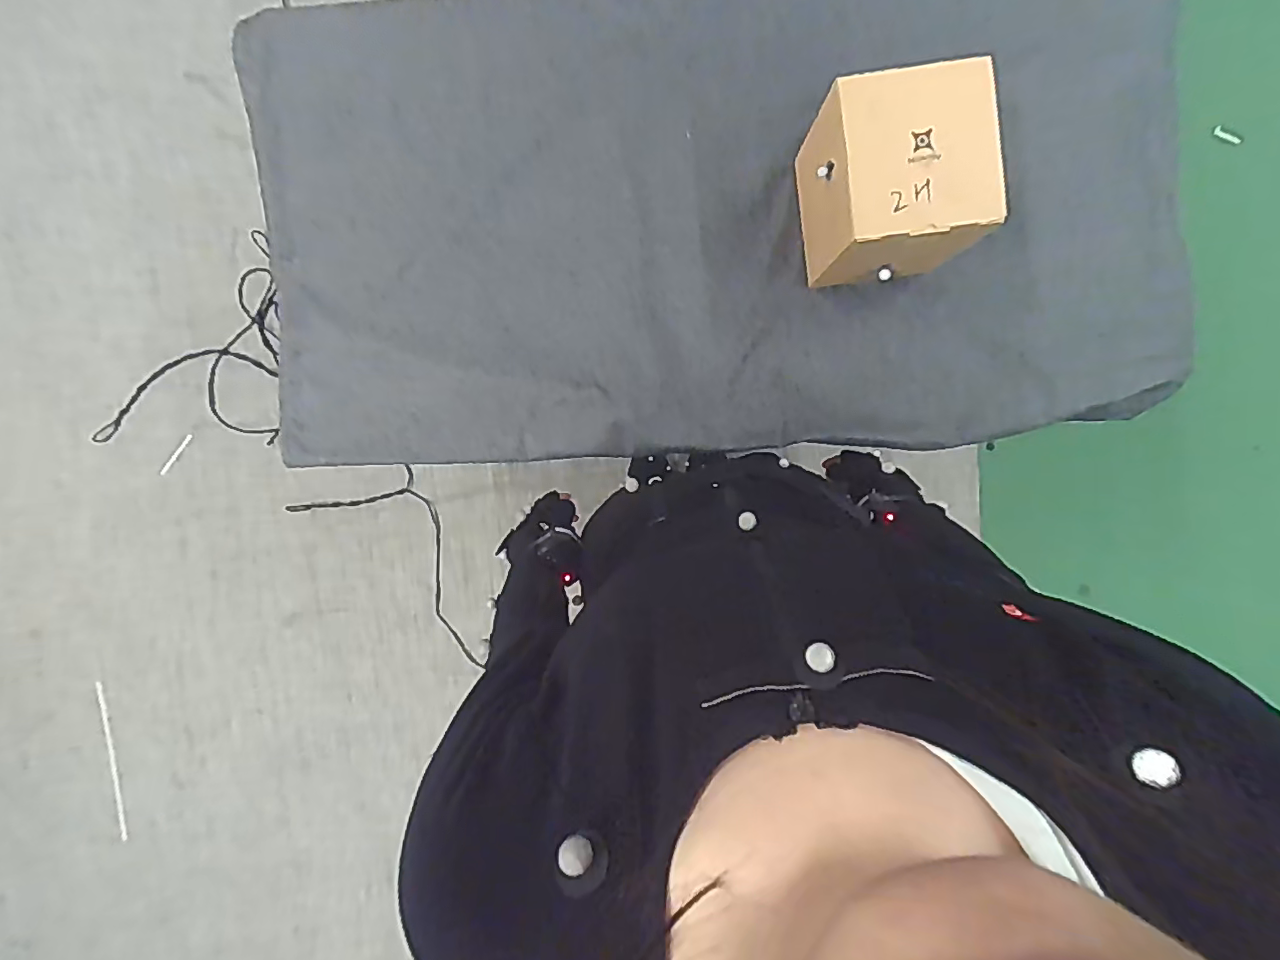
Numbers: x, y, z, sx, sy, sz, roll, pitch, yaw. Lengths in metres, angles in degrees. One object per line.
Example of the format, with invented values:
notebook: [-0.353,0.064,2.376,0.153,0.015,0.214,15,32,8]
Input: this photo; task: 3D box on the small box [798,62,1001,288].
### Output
small box: [0.302,-0.357,0.664,0.168,0.176,0.179,-7,93,2]
